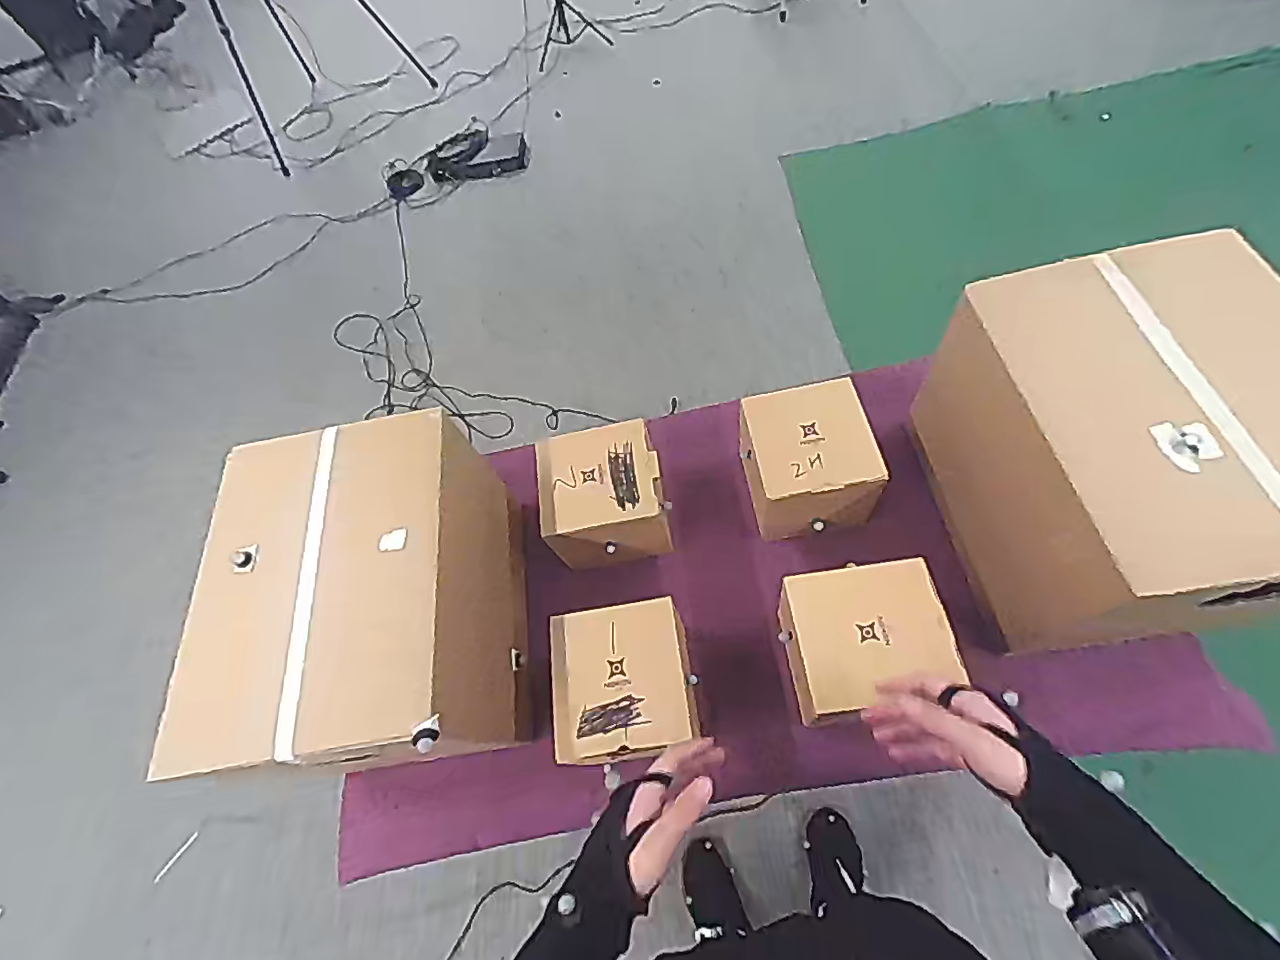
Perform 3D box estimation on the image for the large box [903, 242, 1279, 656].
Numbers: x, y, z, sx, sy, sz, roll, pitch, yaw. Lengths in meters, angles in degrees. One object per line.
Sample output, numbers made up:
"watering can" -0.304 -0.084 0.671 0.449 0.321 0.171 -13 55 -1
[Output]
"large box" 0.596 -0.020 0.695 0.320 0.320 0.408 -11 62 6
